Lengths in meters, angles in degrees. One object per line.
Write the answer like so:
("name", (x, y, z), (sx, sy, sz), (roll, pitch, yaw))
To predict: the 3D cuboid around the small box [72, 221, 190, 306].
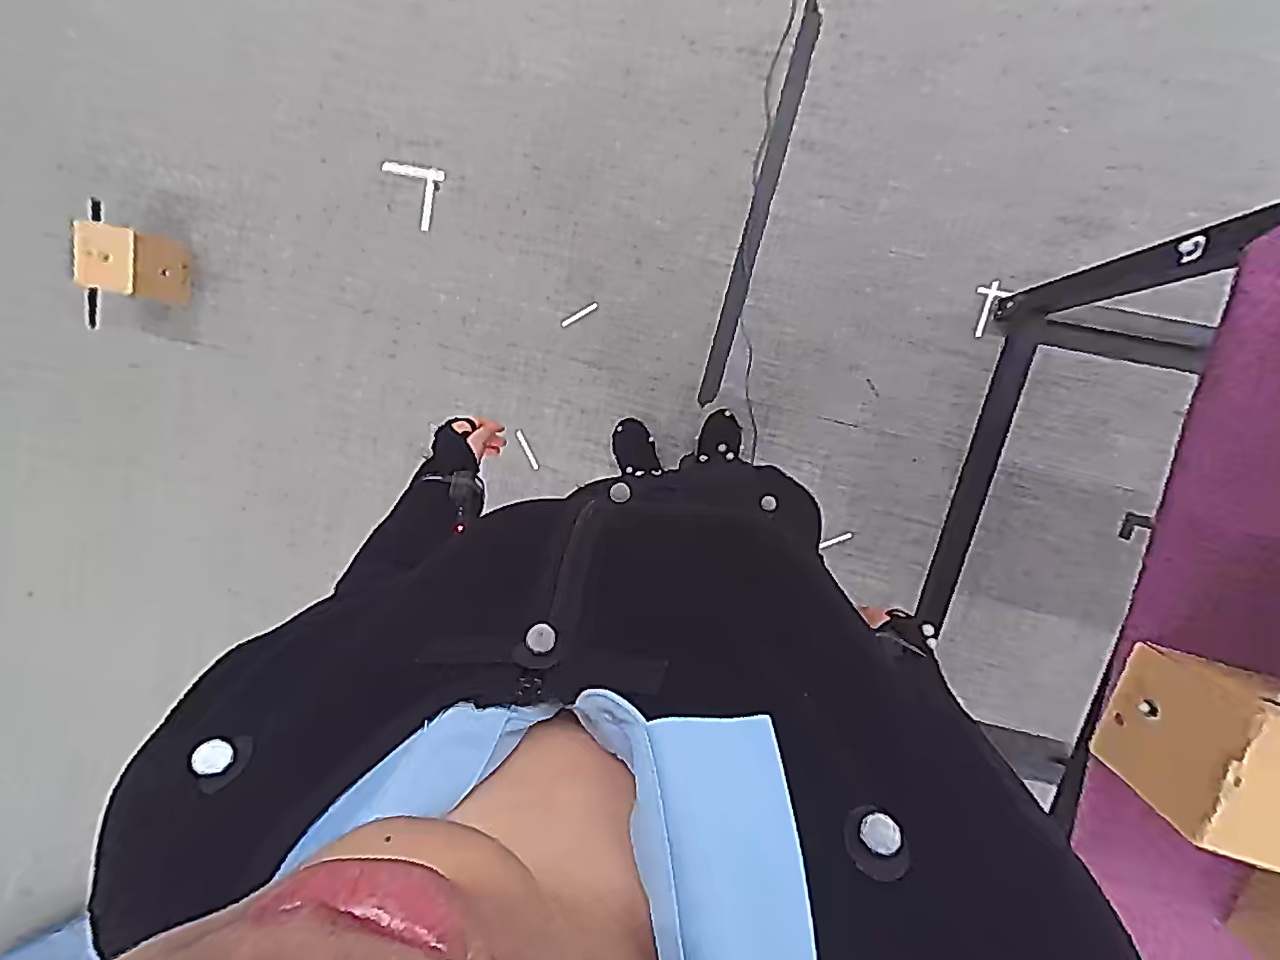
("small box", (-1.385, -0.584, 1.479), (0.179, 0.176, 0.168), (13, 99, 5))
